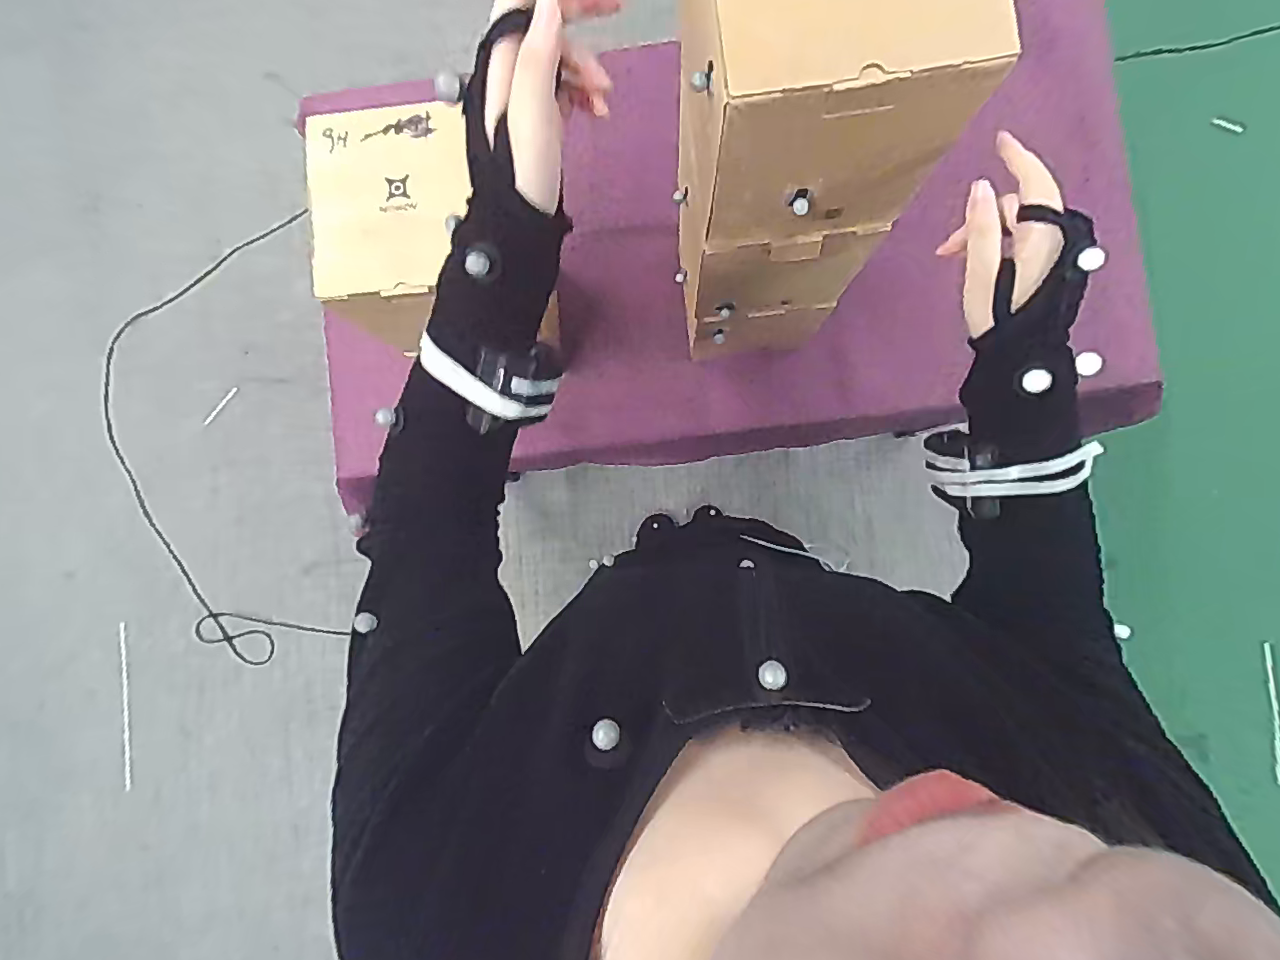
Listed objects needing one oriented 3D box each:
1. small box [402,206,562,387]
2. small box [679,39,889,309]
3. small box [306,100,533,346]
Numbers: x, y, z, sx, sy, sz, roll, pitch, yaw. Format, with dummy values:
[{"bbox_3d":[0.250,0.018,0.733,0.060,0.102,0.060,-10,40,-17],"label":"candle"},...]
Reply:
[{"bbox_3d":[-0.206,-0.236,0.732,0.168,0.176,0.179,-5,87,3],"label":"small box"},{"bbox_3d":[0.130,-0.288,0.552,0.168,0.176,0.179,-7,85,3],"label":"small box"},{"bbox_3d":[-0.215,-0.248,0.567,0.168,0.176,0.179,-5,87,2],"label":"small box"}]
